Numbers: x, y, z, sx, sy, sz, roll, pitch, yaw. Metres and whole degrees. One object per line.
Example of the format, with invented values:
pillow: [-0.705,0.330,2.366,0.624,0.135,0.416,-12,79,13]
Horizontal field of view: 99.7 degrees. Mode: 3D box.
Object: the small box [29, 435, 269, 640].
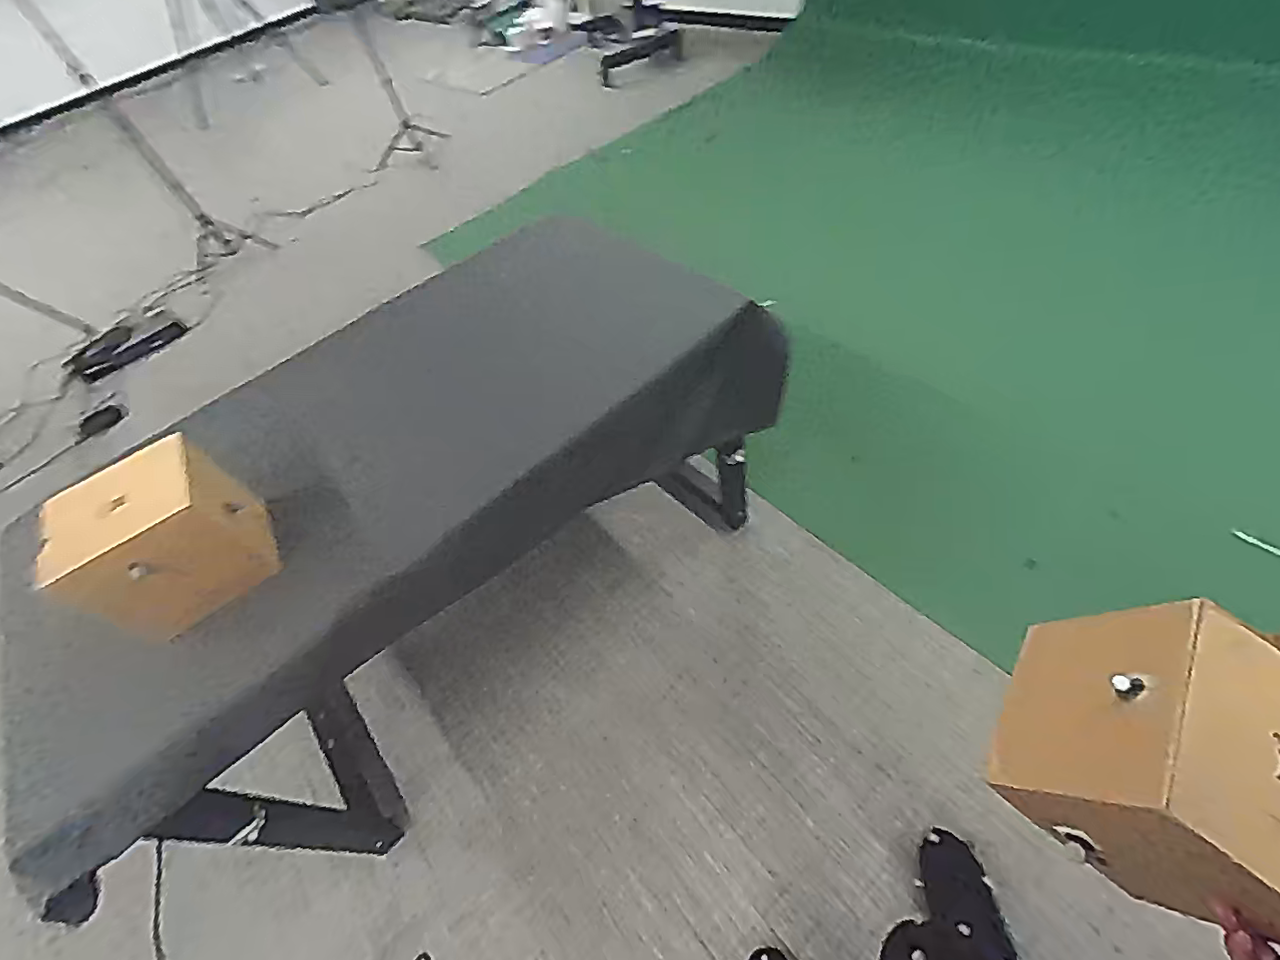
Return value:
small box: [-0.637,0.079,0.724,0.179,0.176,0.168,-35,54,-15]
